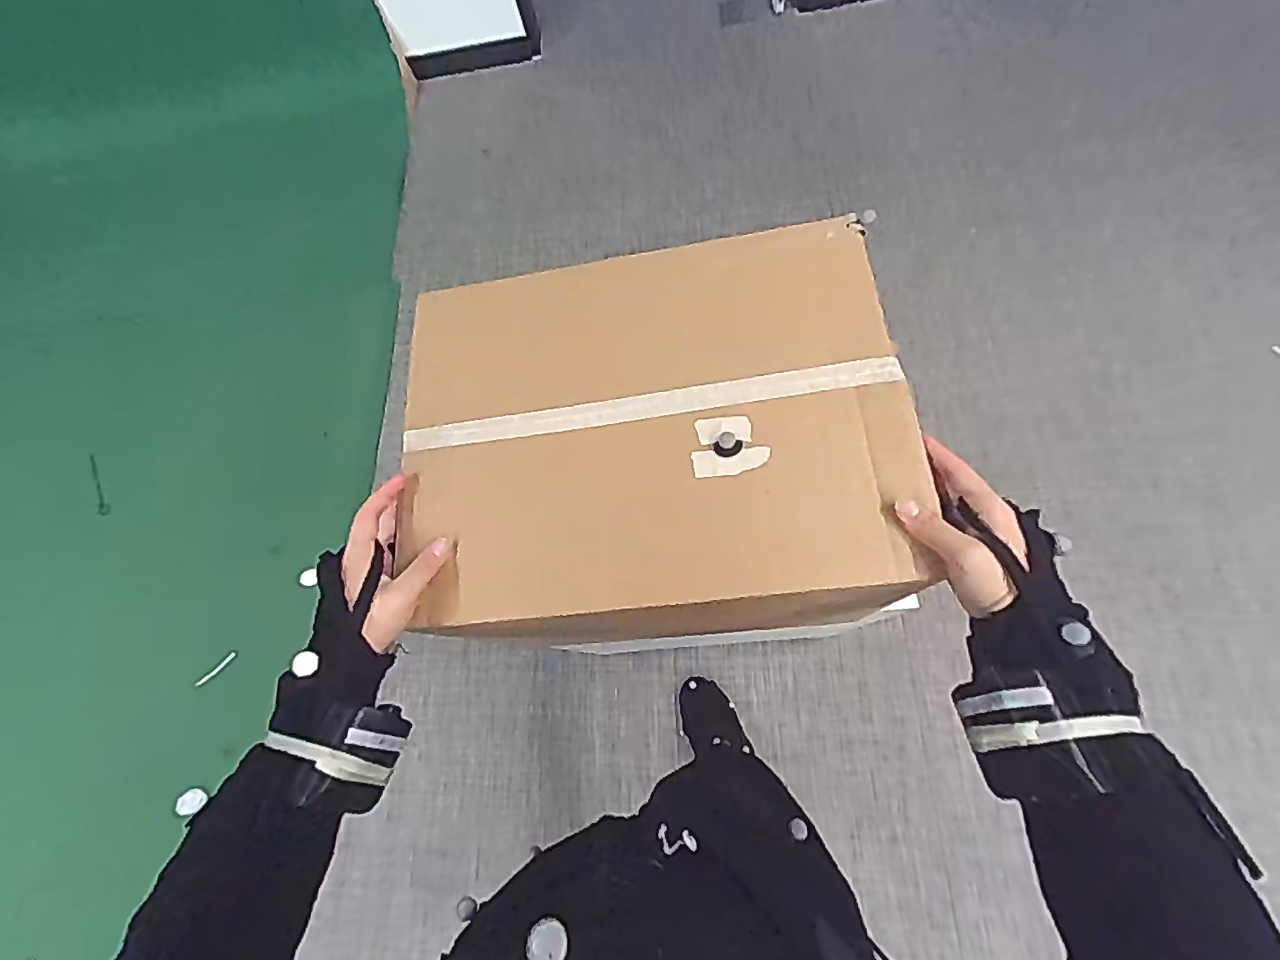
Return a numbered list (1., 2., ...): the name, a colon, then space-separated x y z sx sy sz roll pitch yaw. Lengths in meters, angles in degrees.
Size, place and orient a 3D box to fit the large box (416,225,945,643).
1. large box: 0.027 -0.009 0.588 0.408 0.320 0.320 -7 70 6
